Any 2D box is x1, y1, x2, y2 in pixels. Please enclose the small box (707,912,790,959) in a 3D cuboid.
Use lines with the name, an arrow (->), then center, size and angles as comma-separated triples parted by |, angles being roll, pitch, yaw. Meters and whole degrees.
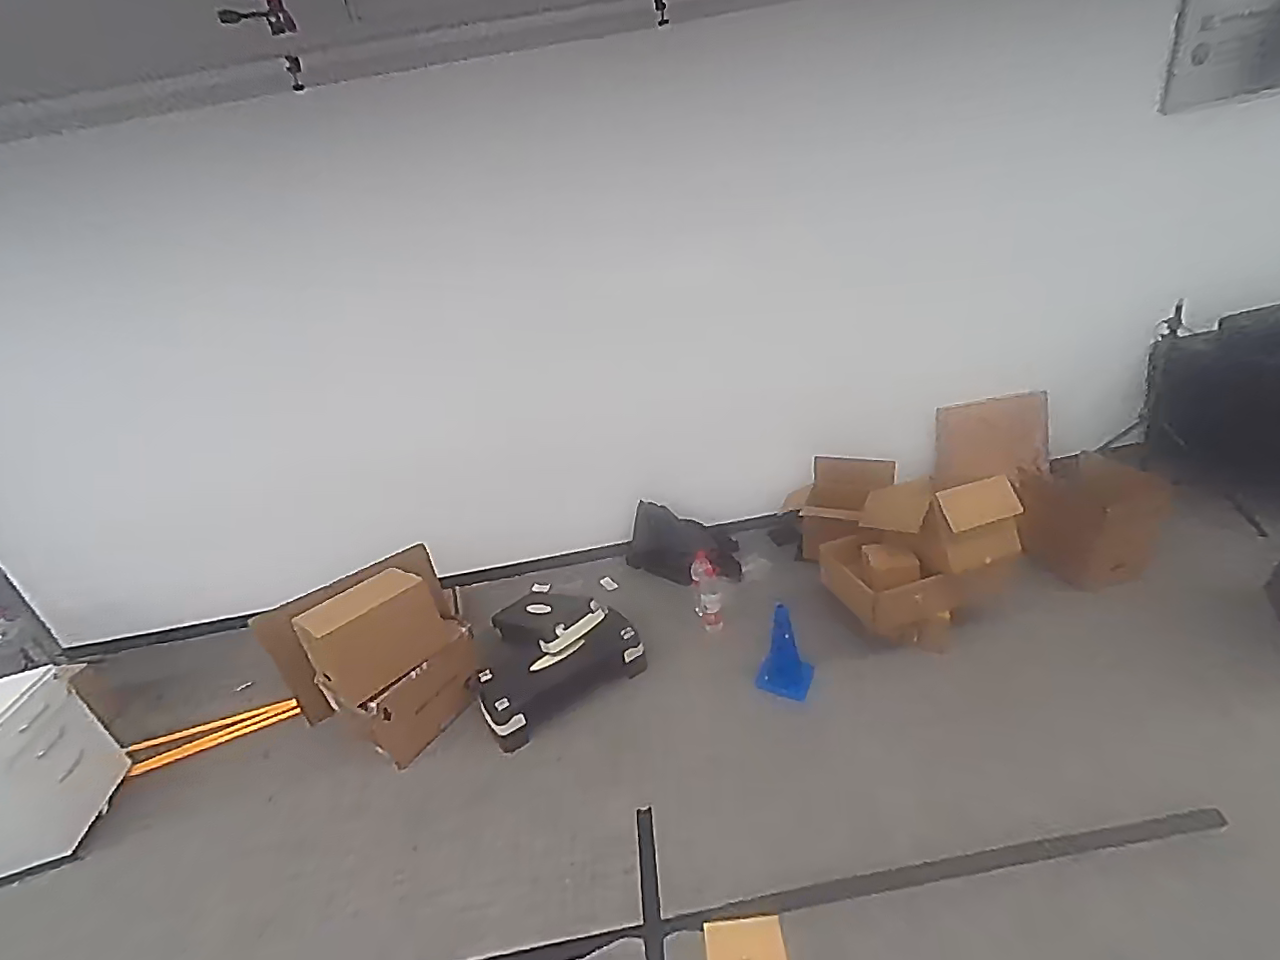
small box -> 0.236, 1.061, 1.139 | 0.168, 0.176, 0.179 | -8, 26, 4
